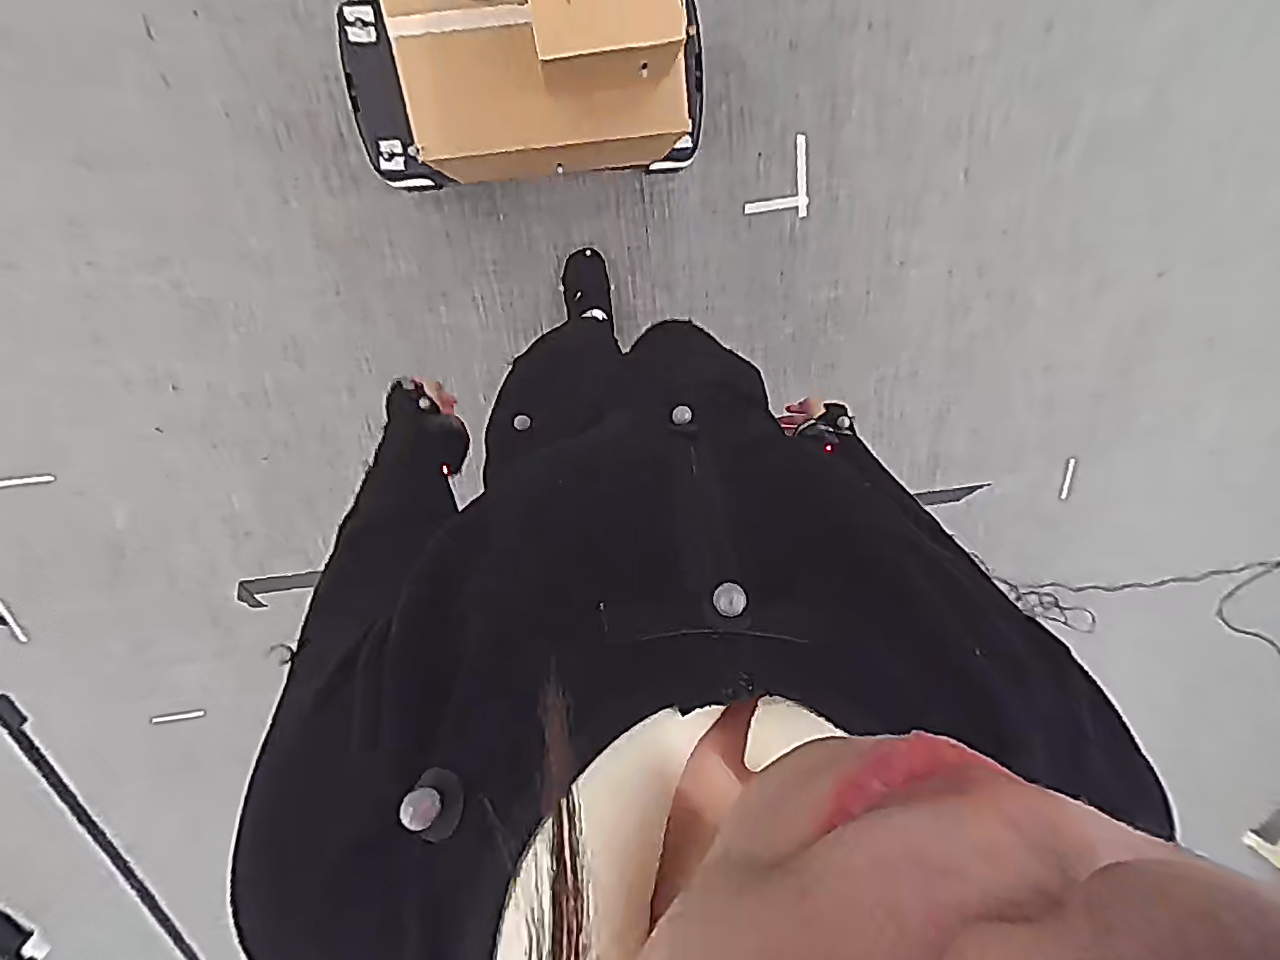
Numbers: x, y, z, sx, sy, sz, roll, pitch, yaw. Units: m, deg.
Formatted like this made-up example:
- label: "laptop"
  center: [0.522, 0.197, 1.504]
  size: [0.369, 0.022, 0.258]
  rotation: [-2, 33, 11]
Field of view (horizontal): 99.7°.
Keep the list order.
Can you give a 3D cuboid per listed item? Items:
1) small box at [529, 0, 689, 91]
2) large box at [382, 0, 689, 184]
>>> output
- label: "small box"
  center: [-0.048, -0.597, 0.655]
  size: [0.179, 0.176, 0.168]
  rotation: [-10, 114, -2]
- label: "large box"
  center: [-0.154, -0.687, 0.872]
  size: [0.408, 0.320, 0.320]
  rotation: [-8, 113, -3]
